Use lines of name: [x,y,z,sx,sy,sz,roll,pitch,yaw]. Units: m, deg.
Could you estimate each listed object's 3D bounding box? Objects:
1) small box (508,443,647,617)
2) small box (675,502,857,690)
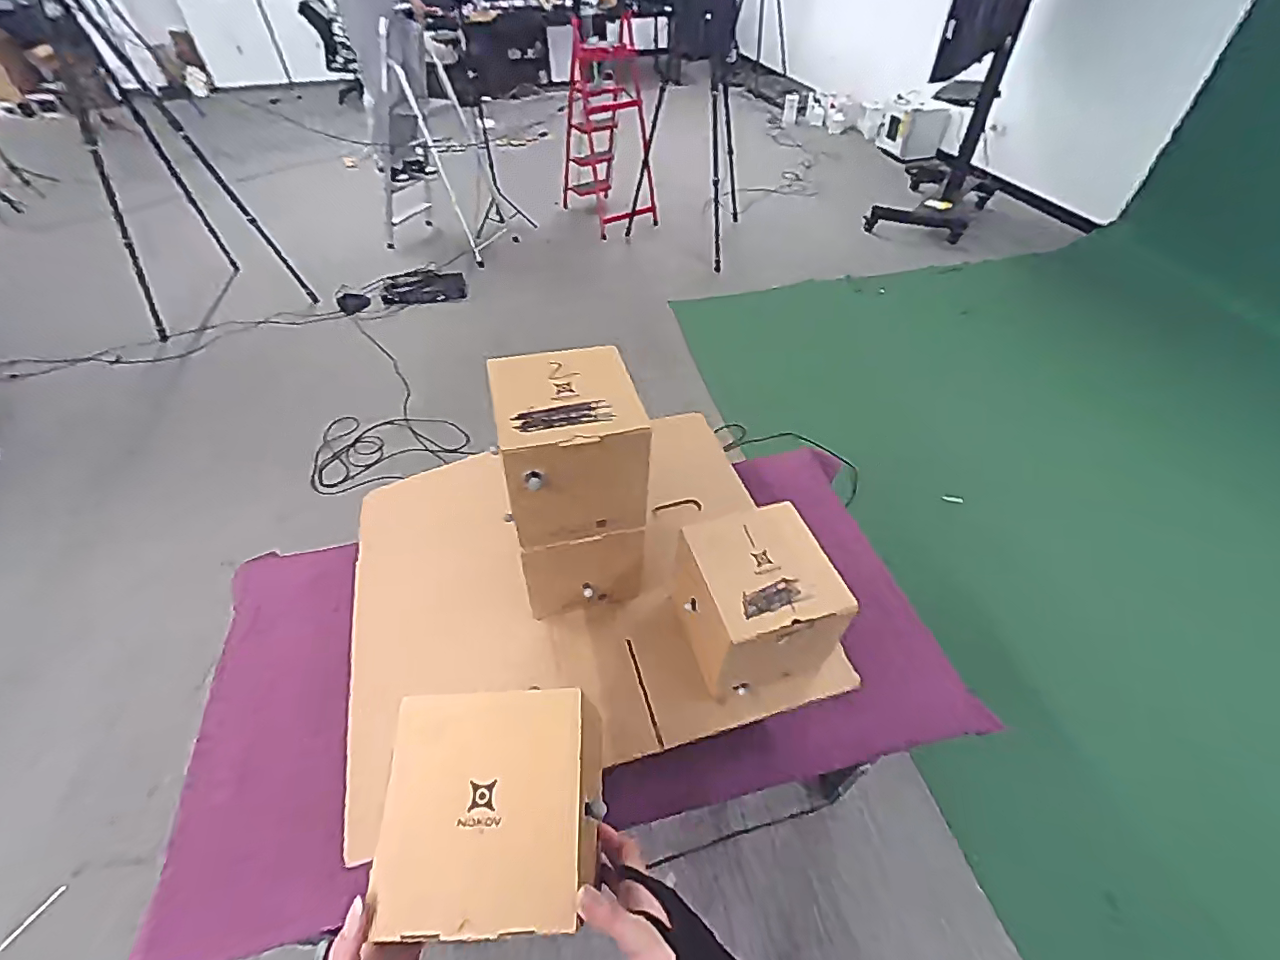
small box: [-0.095,0.073,0.800,0.168,0.176,0.179,-11,48,-12]
small box: [0.154,0.161,0.728,0.168,0.176,0.179,-12,47,-13]
